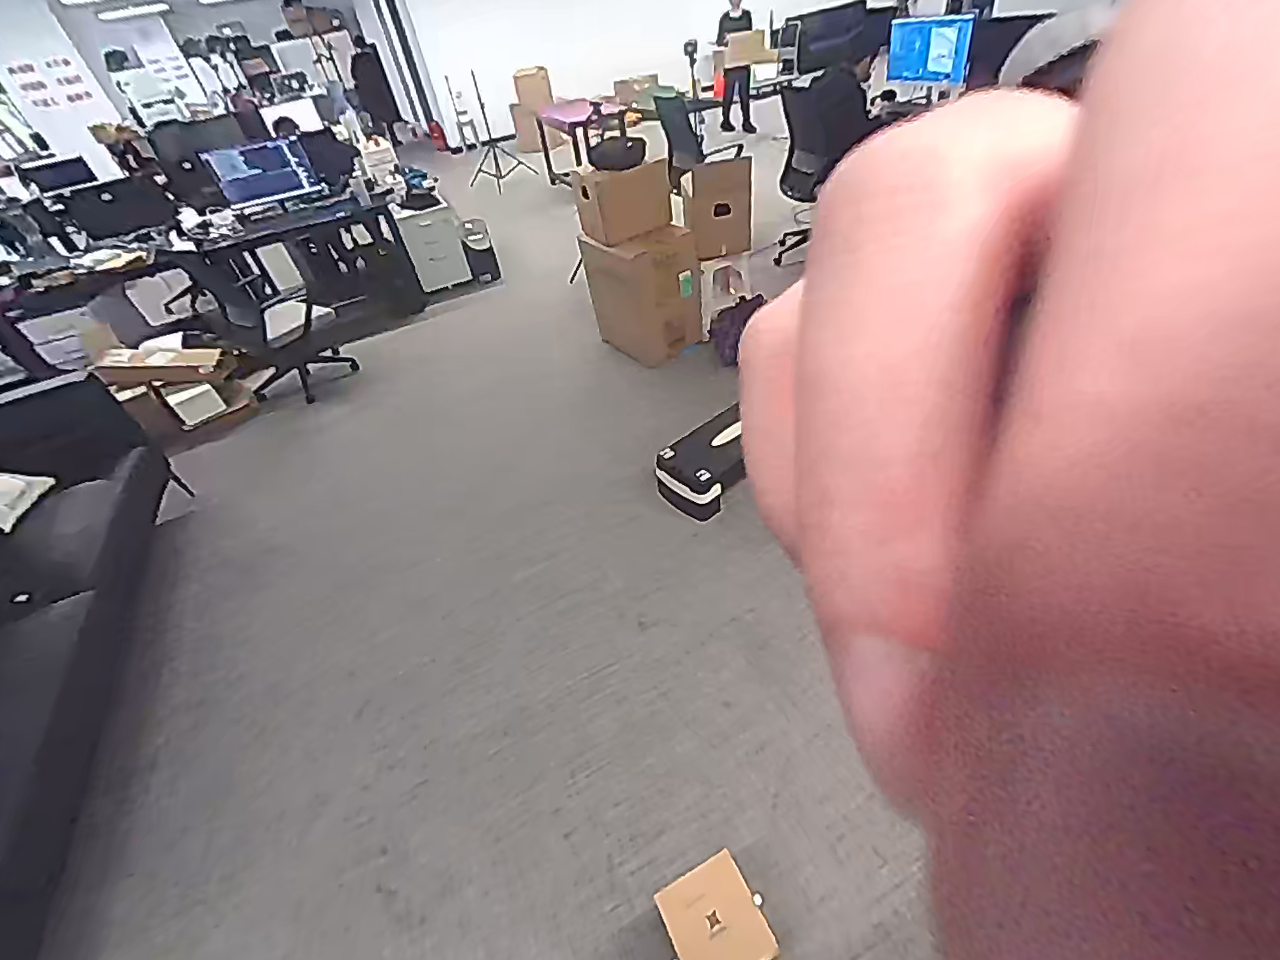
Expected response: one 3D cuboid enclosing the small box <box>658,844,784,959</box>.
[{"bbox_3d":[0.154,0.844,1.024,0.168,0.176,0.179,-24,43,-15],"label":"small box"}]
